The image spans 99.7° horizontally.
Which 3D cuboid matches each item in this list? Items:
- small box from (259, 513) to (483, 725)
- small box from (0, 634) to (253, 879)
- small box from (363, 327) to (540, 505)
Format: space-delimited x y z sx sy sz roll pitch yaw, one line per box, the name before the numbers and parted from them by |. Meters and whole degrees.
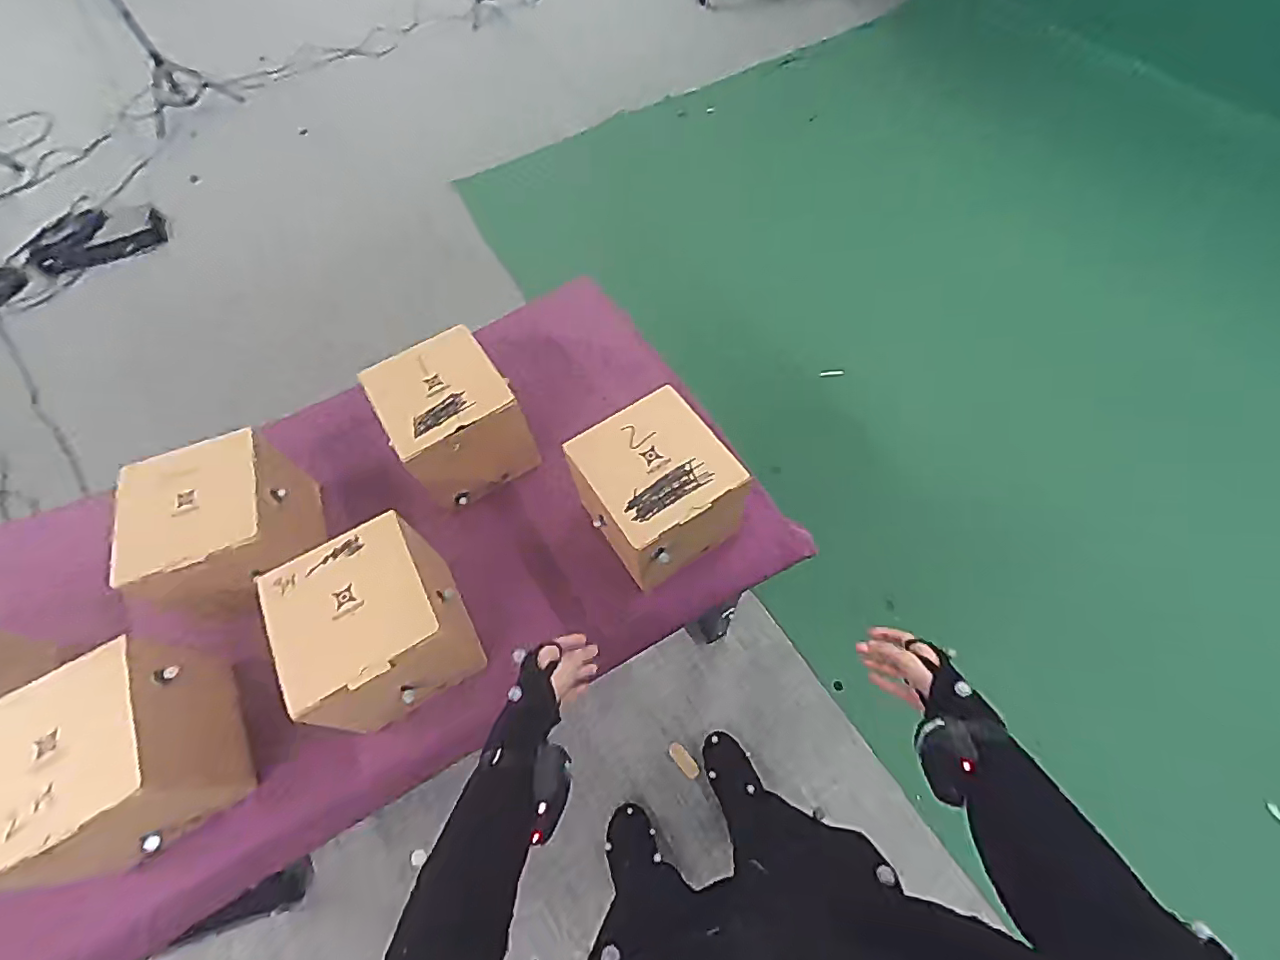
small box | -0.314 0.177 0.658 0.168 0.176 0.179 -28 62 -12
small box | -0.578 0.306 0.601 0.168 0.176 0.179 -29 63 -12
small box | -0.268 -0.084 0.802 0.168 0.176 0.179 -30 62 -13
